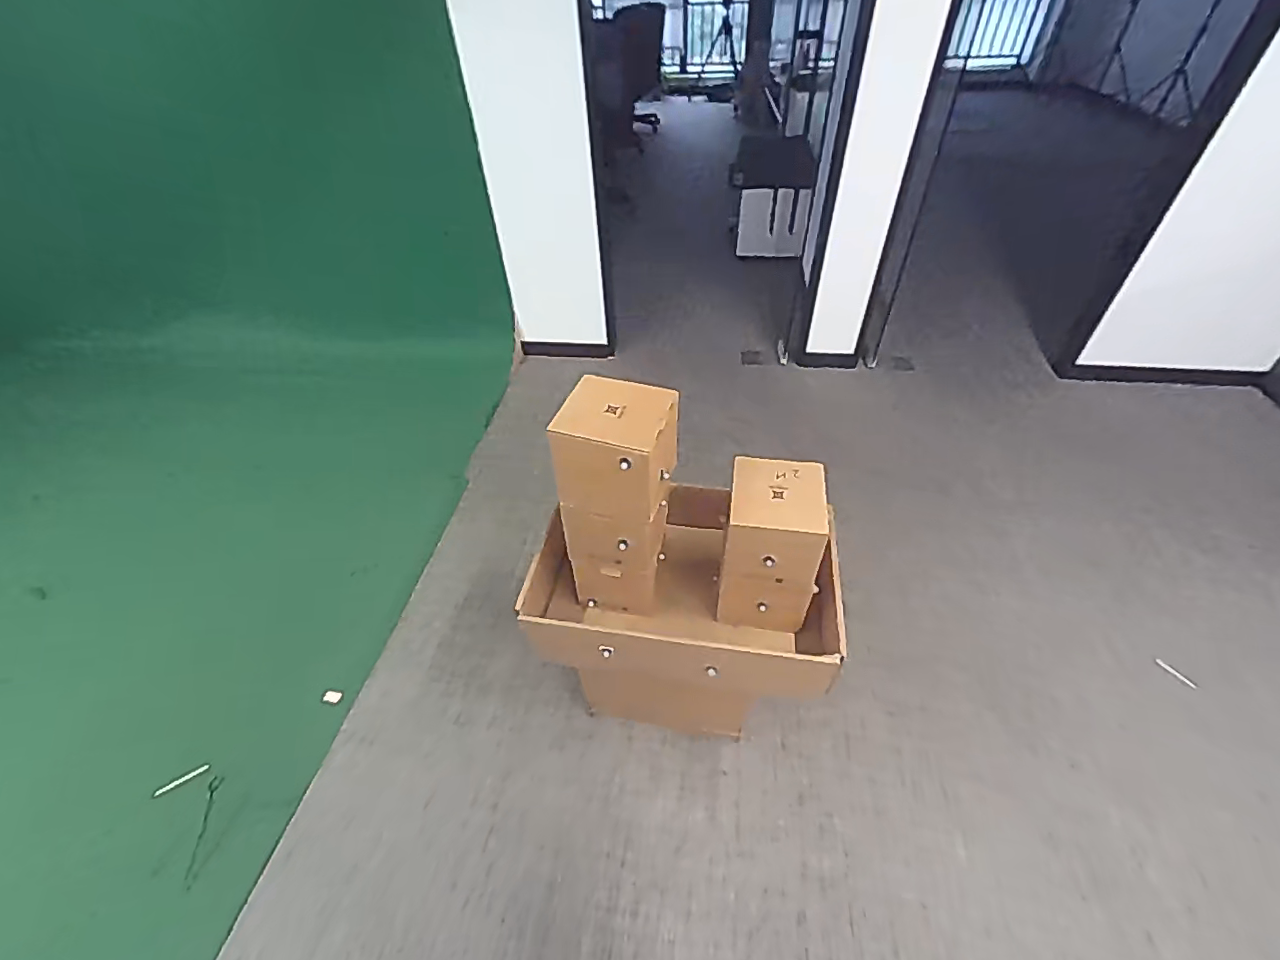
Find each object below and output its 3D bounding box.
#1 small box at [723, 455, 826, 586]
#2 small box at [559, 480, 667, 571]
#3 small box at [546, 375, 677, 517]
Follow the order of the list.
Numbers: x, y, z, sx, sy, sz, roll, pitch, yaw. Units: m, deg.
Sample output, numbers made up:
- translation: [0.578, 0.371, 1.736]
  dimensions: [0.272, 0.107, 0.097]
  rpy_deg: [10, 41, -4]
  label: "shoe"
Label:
- translation: [0.248, 0.078, 1.016]
  dimensions: [0.168, 0.176, 0.179]
  rpy_deg: [6, 46, 9]
  label: "small box"
- translation: [-0.043, 0.054, 1.061]
  dimensions: [0.168, 0.176, 0.179]
  rpy_deg: [10, 46, 11]
  label: "small box"
- translation: [-0.043, -0.058, 0.943]
  dimensions: [0.179, 0.176, 0.168]
  rpy_deg: [13, 47, 13]
  label: "small box"
